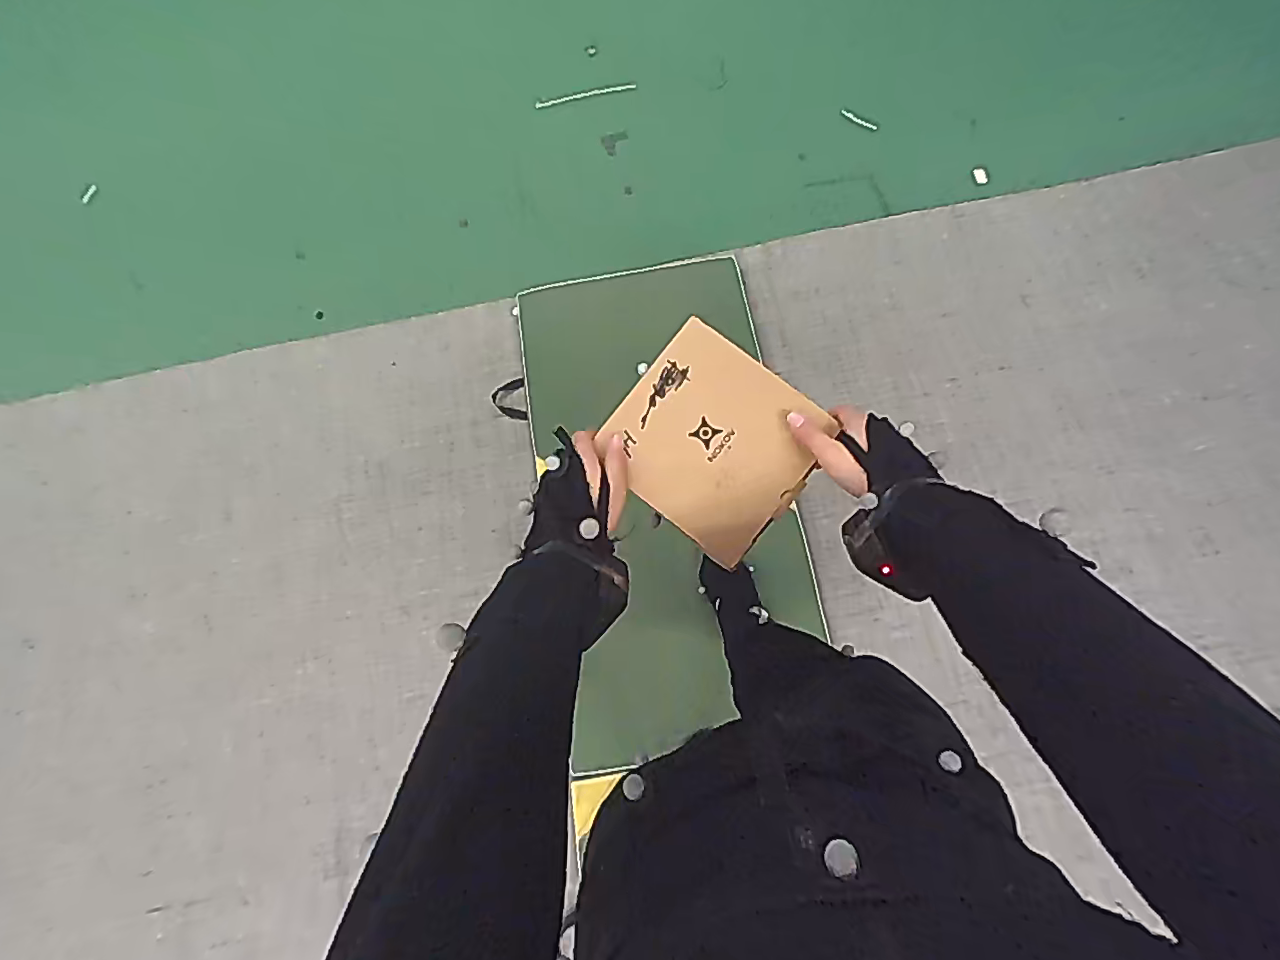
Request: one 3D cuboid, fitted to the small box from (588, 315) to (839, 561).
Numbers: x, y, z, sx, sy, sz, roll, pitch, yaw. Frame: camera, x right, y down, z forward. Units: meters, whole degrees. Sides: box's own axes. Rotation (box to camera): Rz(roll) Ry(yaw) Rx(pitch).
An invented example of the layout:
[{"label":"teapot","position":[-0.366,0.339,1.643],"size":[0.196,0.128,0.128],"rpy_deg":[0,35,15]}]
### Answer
[{"label":"small box","position":[0.071,-0.036,0.579],"size":[0.179,0.176,0.168],"rpy_deg":[39,87,6]}]
